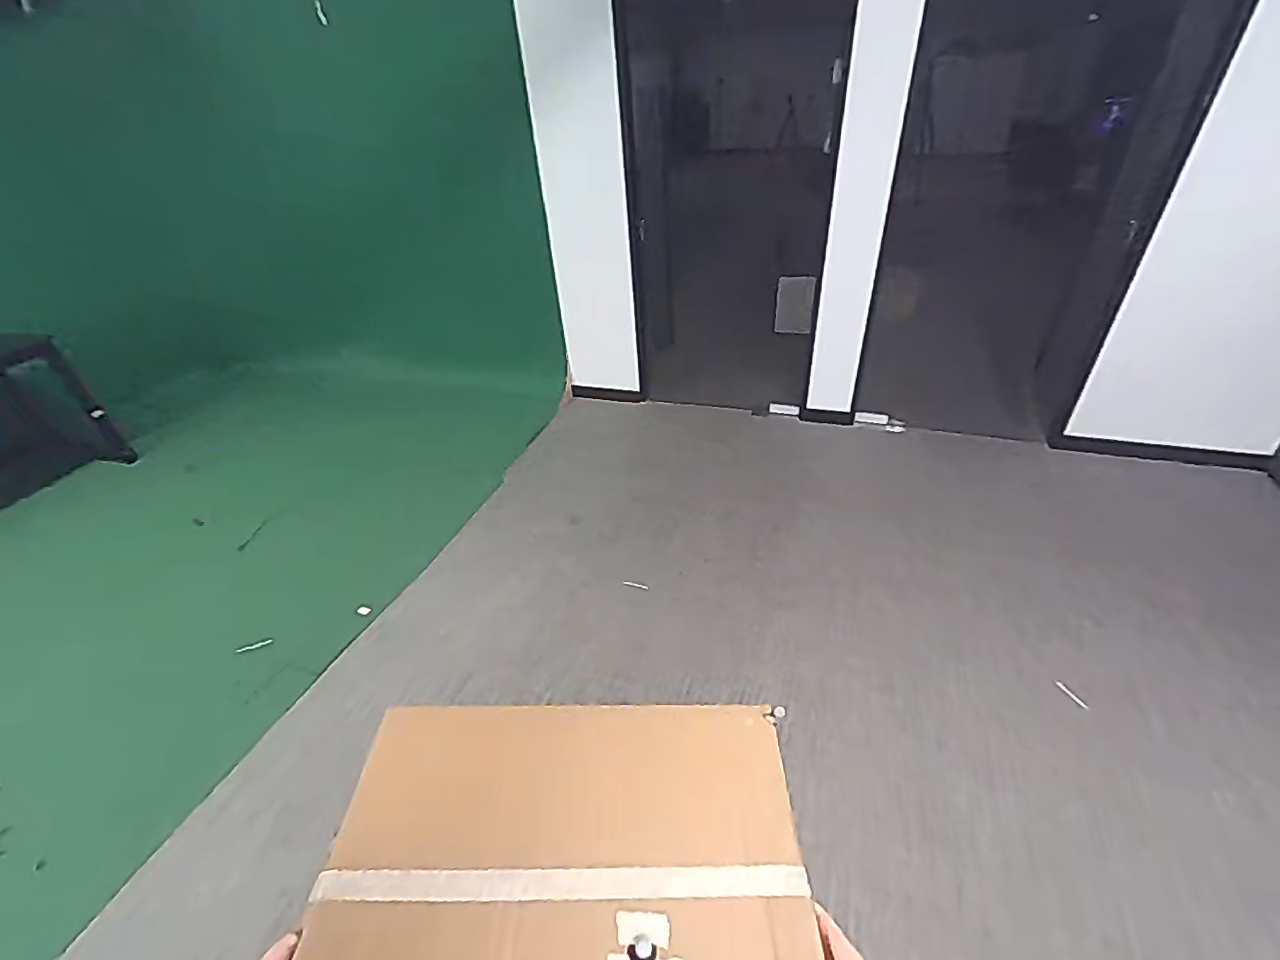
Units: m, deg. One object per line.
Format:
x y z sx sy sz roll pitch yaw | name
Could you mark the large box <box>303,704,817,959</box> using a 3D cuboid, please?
-0.065 0.453 0.552 0.408 0.320 0.320 1 39 -1 | large box
